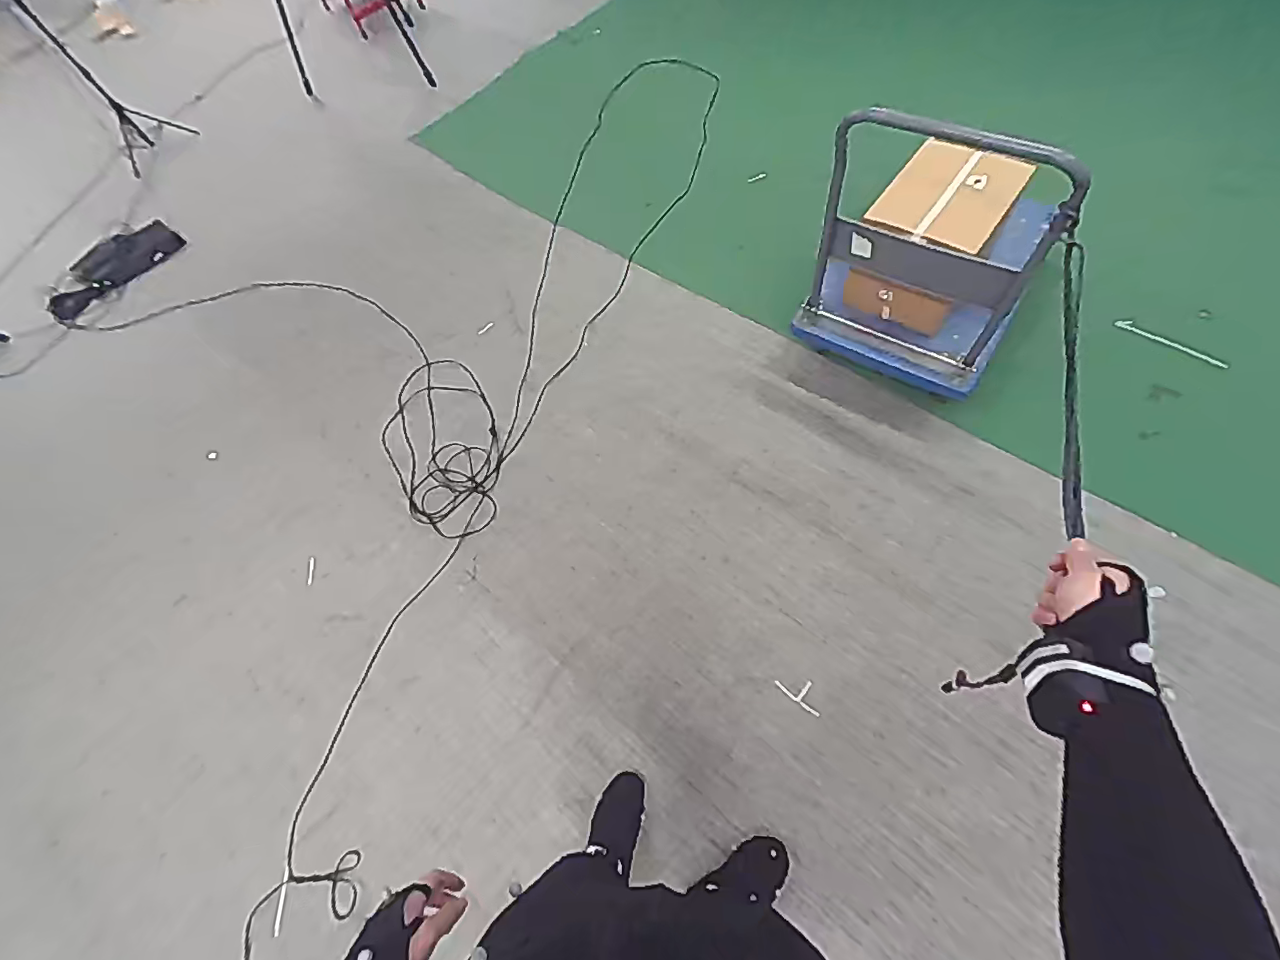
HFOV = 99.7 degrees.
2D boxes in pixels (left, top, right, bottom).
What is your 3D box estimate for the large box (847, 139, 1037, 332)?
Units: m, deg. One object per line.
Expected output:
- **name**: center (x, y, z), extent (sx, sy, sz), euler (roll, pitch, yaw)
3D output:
- **large box**: center (0.879, -0.725, 1.618), extent (0.320, 0.320, 0.408), euler (33, 71, 22)
